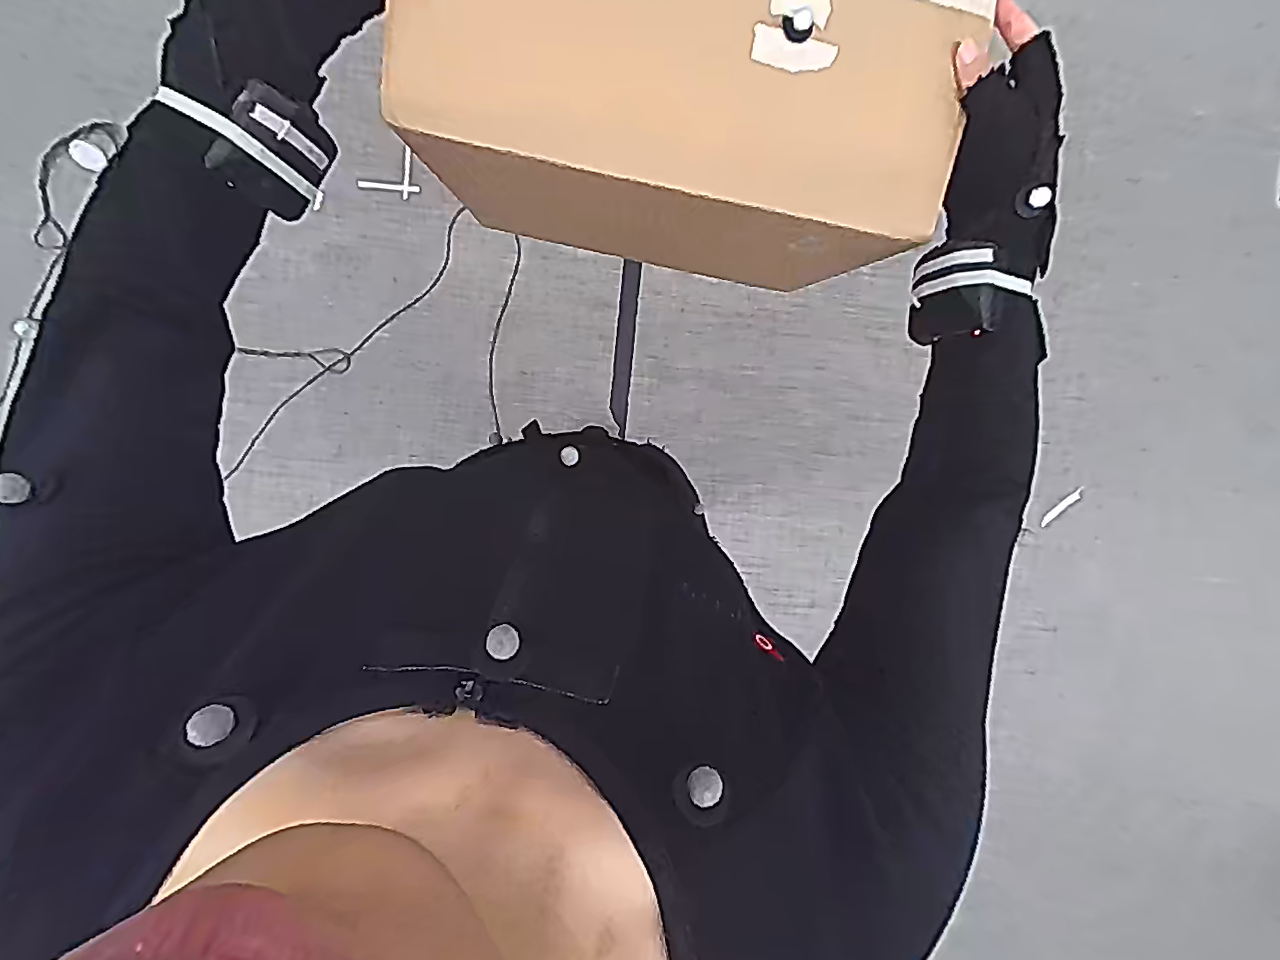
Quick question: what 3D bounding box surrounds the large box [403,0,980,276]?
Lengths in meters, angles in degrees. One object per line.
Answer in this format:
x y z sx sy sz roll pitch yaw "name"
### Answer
0.037 -0.405 0.512 0.408 0.320 0.320 8 103 -6 "large box"
